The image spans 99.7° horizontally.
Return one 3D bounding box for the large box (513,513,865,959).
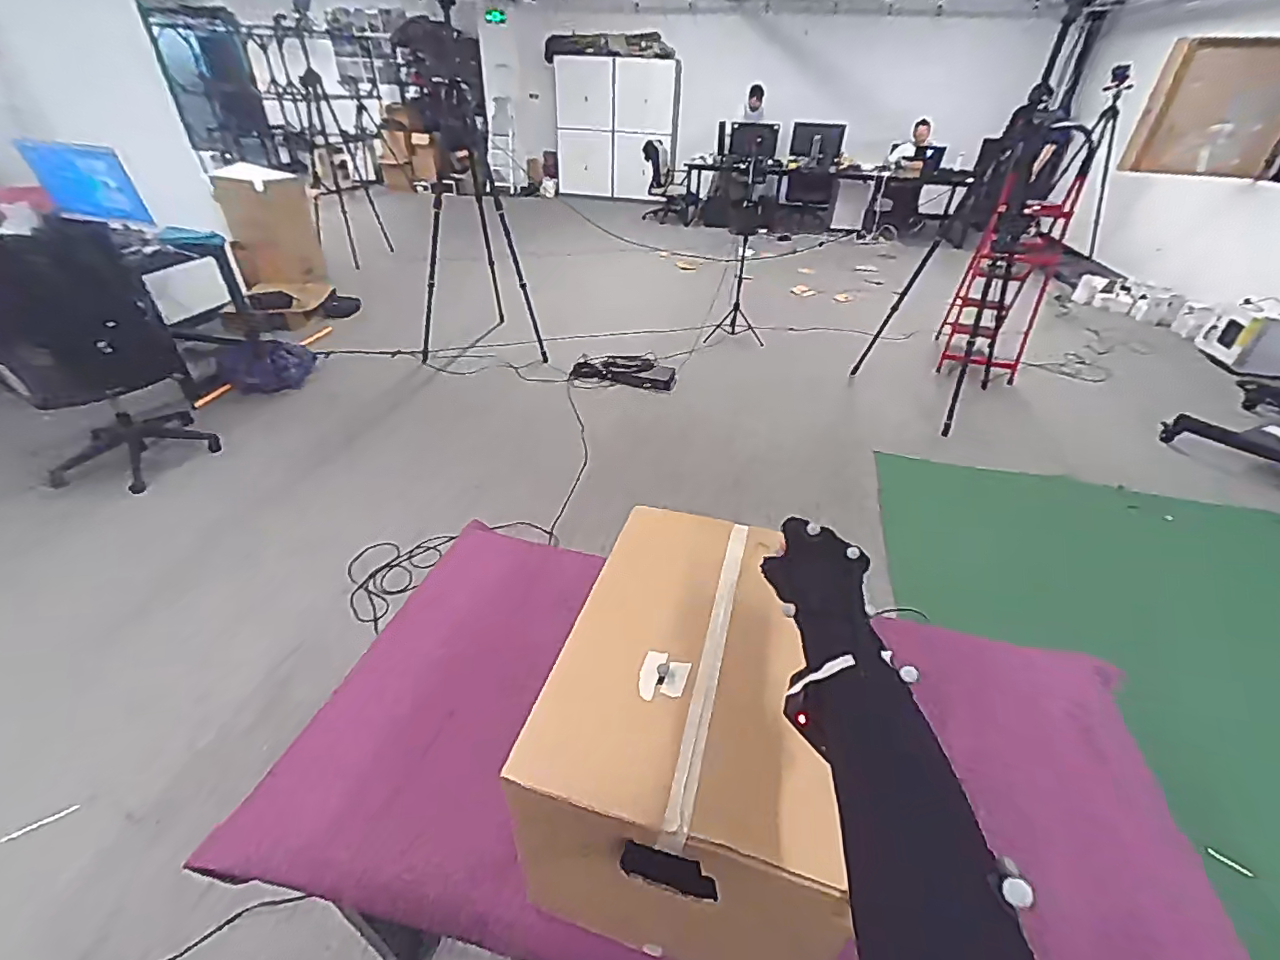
[{"bbox_3d":[0.075,0.308,0.693,0.320,0.320,0.408,12,37,12],"label":"large box"}]
